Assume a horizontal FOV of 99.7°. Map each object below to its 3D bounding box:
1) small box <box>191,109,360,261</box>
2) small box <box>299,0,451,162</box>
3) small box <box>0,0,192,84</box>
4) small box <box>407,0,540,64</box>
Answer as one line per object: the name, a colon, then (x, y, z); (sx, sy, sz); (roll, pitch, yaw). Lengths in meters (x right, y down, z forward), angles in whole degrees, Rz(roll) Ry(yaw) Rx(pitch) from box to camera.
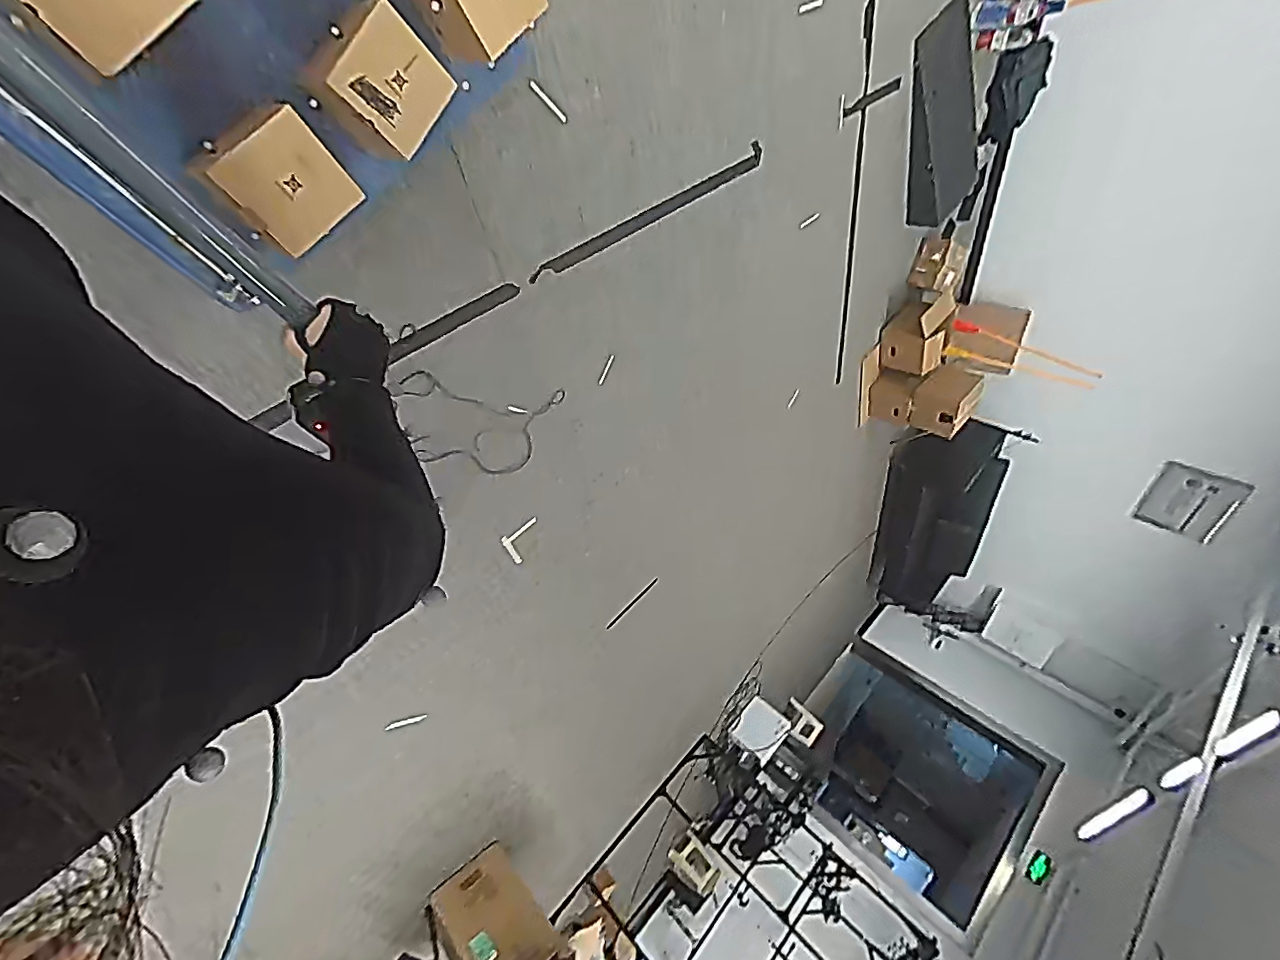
small box: (-0.650, -0.523, 0.961); (0.179, 0.176, 0.168); (-51, 143, -12)
small box: (-0.496, -0.726, 1.001); (0.179, 0.176, 0.168); (-59, 144, -2)
small box: (-0.761, -0.668, 0.726); (0.179, 0.176, 0.168); (-53, 144, -9)
small box: (-0.335, -0.942, 1.043); (0.179, 0.176, 0.168); (-53, 143, -9)
